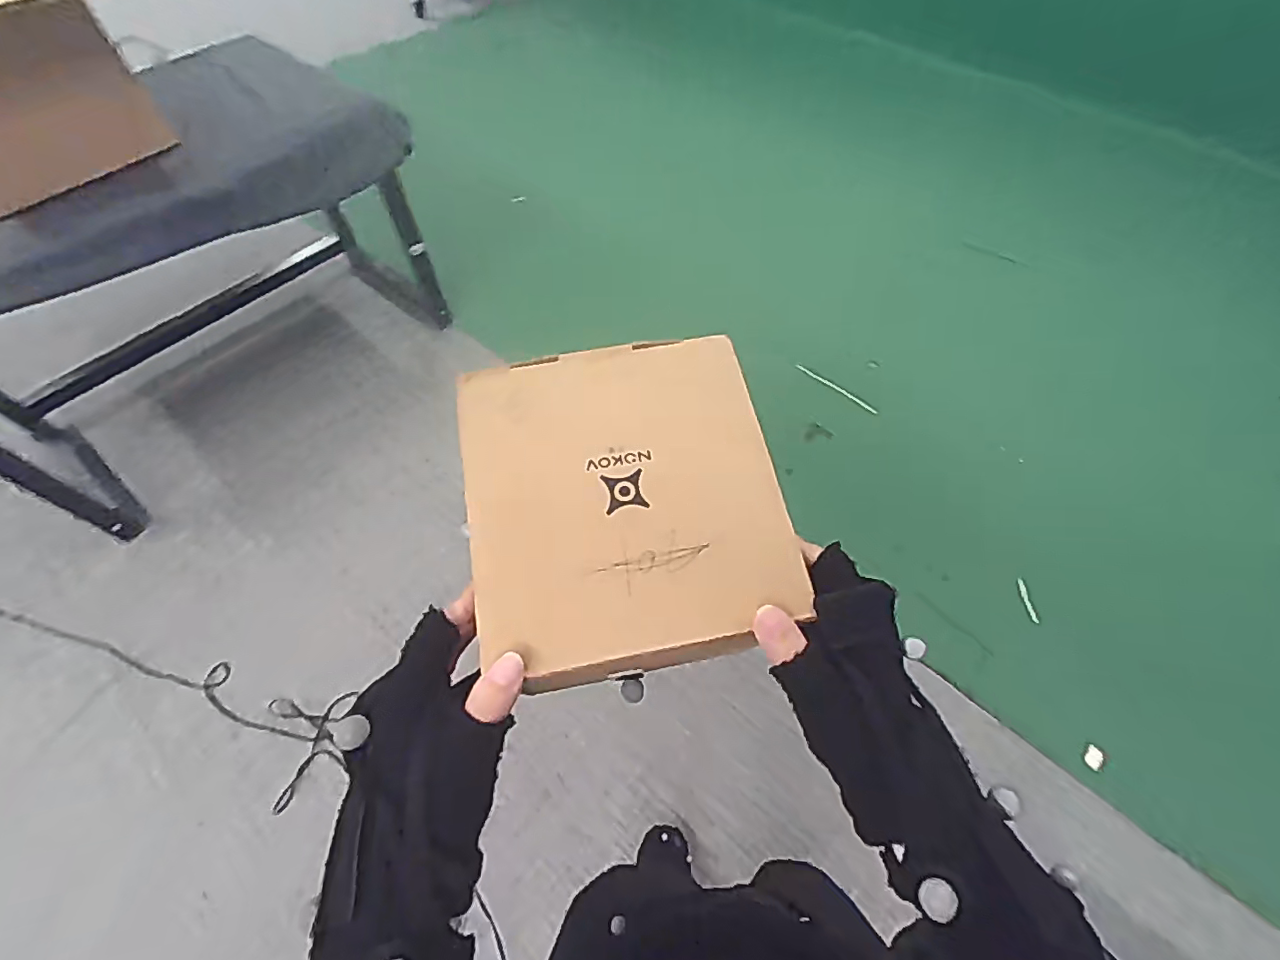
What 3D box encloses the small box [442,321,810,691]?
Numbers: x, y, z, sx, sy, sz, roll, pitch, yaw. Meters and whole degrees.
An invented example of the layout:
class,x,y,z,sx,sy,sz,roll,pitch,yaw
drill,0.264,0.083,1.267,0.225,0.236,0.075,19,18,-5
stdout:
class,x,y,z,sx,sy,sz,roll,pitch,yaw
small box,-0.019,0.028,0.352,0.168,0.176,0.179,-11,68,-6
